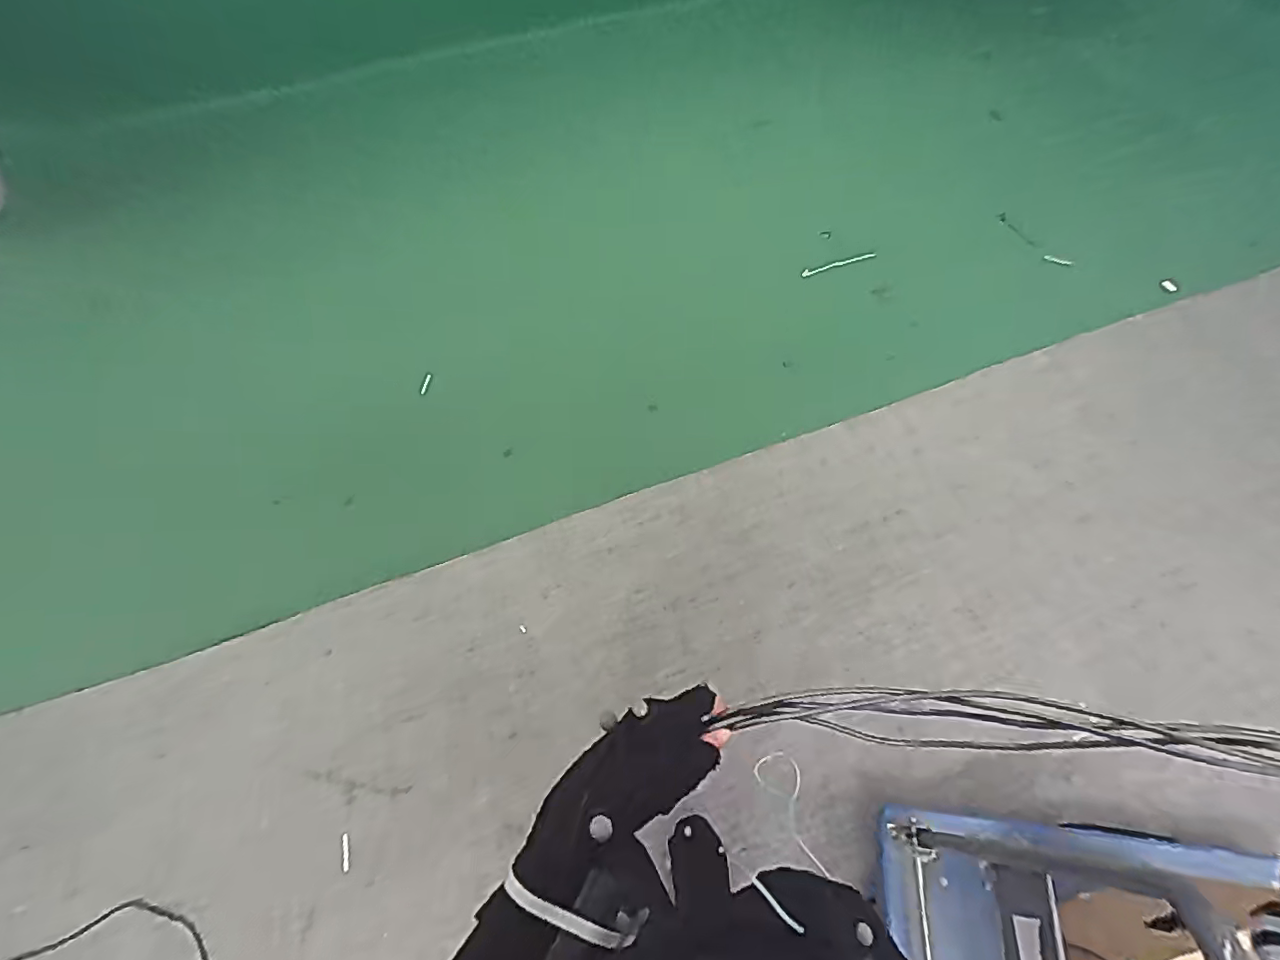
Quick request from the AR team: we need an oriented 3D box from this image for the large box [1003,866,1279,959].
[{"bbox_3d":[0.834,0.836,0.759,0.320,0.320,0.408,-14,59,-5],"label":"large box"}]
